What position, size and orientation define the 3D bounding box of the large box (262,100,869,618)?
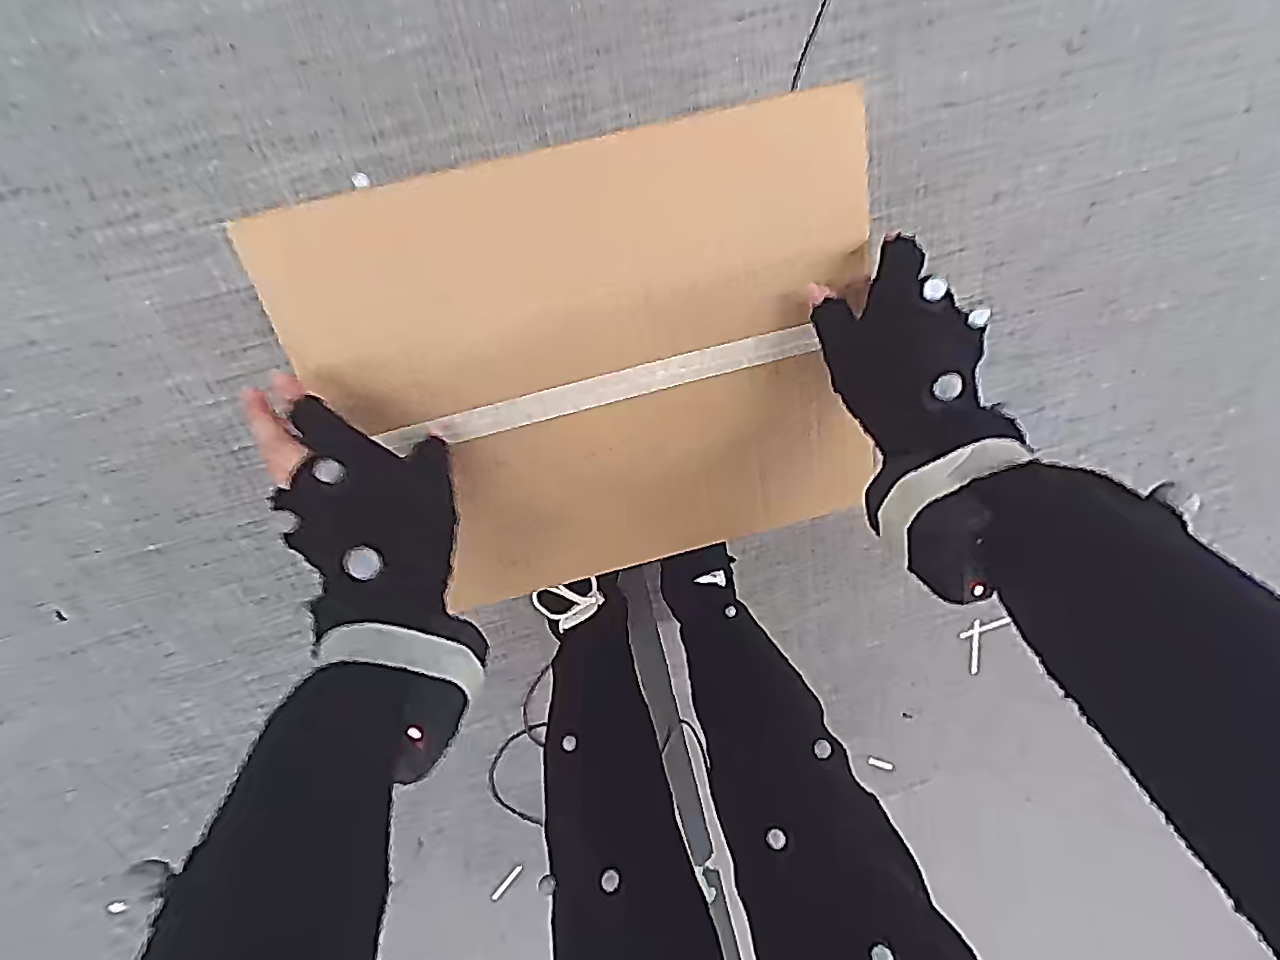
[{"bbox_3d":[-0.042,-0.123,0.545,0.408,0.320,0.320,-14,116,-3],"label":"large box"}]
